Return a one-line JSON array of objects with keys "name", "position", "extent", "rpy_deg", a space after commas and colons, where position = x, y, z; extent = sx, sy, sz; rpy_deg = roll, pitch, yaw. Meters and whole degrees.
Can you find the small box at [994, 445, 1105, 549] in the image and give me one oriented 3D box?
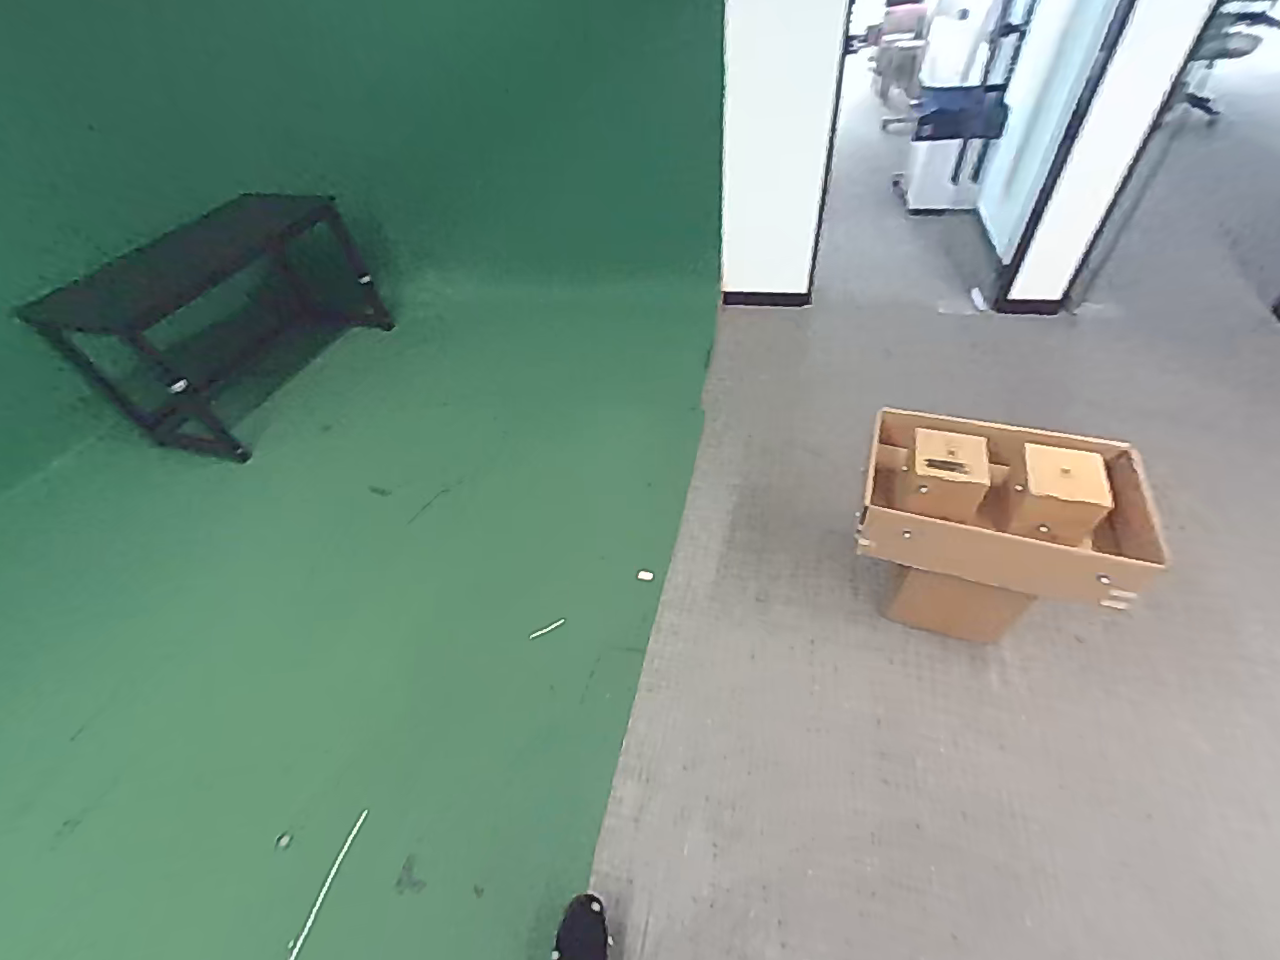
[{"name": "small box", "position": [1.018, 0.043, 1.364], "extent": [0.168, 0.176, 0.179], "rpy_deg": [12, 52, 16]}]
